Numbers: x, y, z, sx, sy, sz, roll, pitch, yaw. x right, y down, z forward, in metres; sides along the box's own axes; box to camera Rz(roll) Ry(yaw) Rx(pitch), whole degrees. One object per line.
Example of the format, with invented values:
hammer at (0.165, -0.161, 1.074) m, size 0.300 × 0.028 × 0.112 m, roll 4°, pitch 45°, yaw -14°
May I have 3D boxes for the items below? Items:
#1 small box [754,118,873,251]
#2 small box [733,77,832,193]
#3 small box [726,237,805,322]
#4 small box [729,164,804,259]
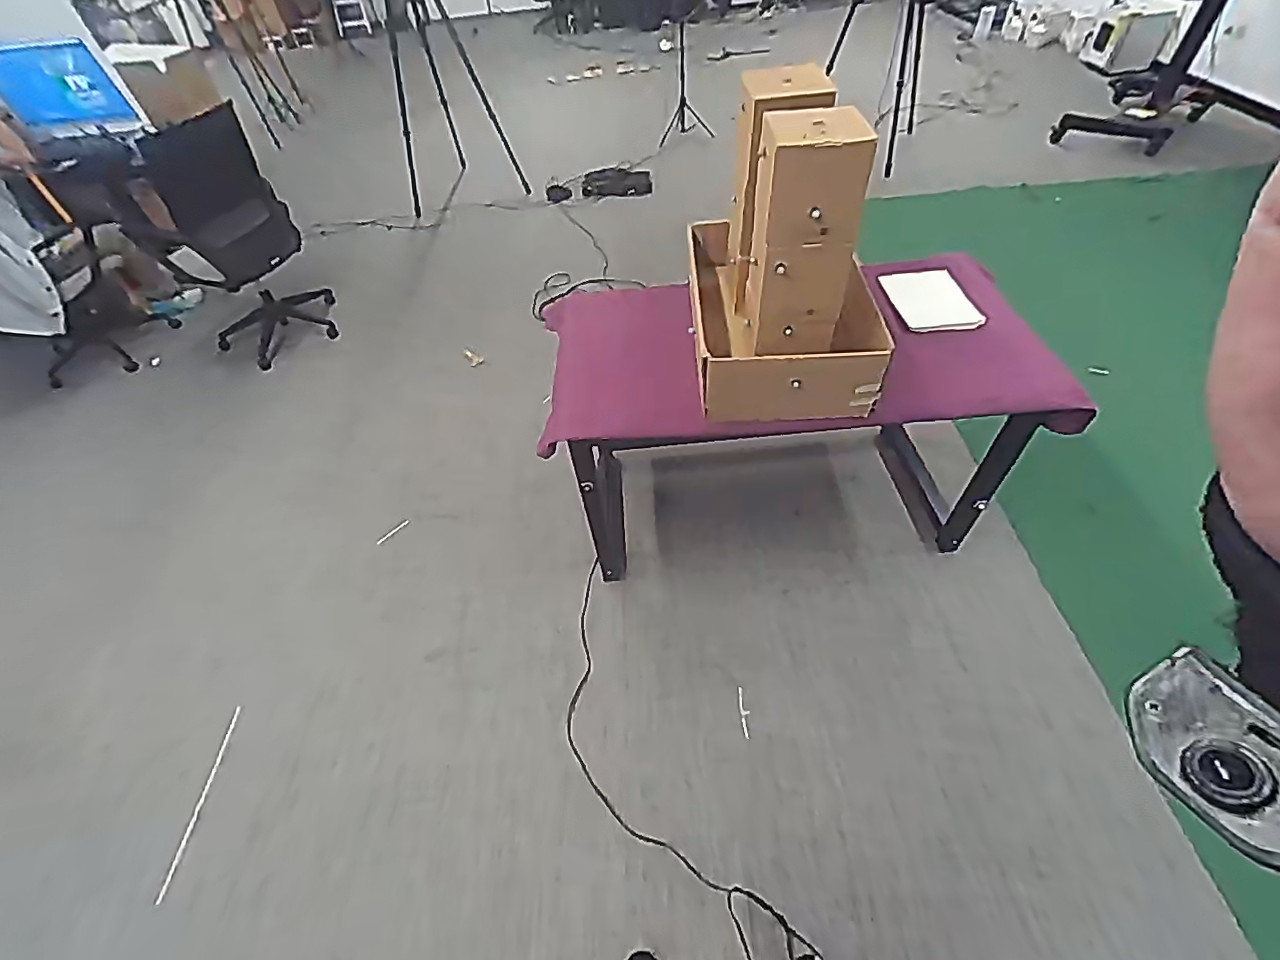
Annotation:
small box at (0.308, -0.547, 1.005) m, size 0.168 × 0.176 × 0.179 m, roll -2°, pitch 50°, yaw 4°
small box at (0.301, -0.753, 1.184) m, size 0.168 × 0.176 × 0.179 m, roll -5°, pitch 52°, yaw 2°
small box at (0.323, -0.543, 1.434) m, size 0.168 × 0.176 × 0.179 m, roll -4°, pitch 52°, yaw 2°
small box at (0.311, -0.652, 1.311) m, size 0.168 × 0.176 × 0.179 m, roll -5°, pitch 50°, yaw 1°
